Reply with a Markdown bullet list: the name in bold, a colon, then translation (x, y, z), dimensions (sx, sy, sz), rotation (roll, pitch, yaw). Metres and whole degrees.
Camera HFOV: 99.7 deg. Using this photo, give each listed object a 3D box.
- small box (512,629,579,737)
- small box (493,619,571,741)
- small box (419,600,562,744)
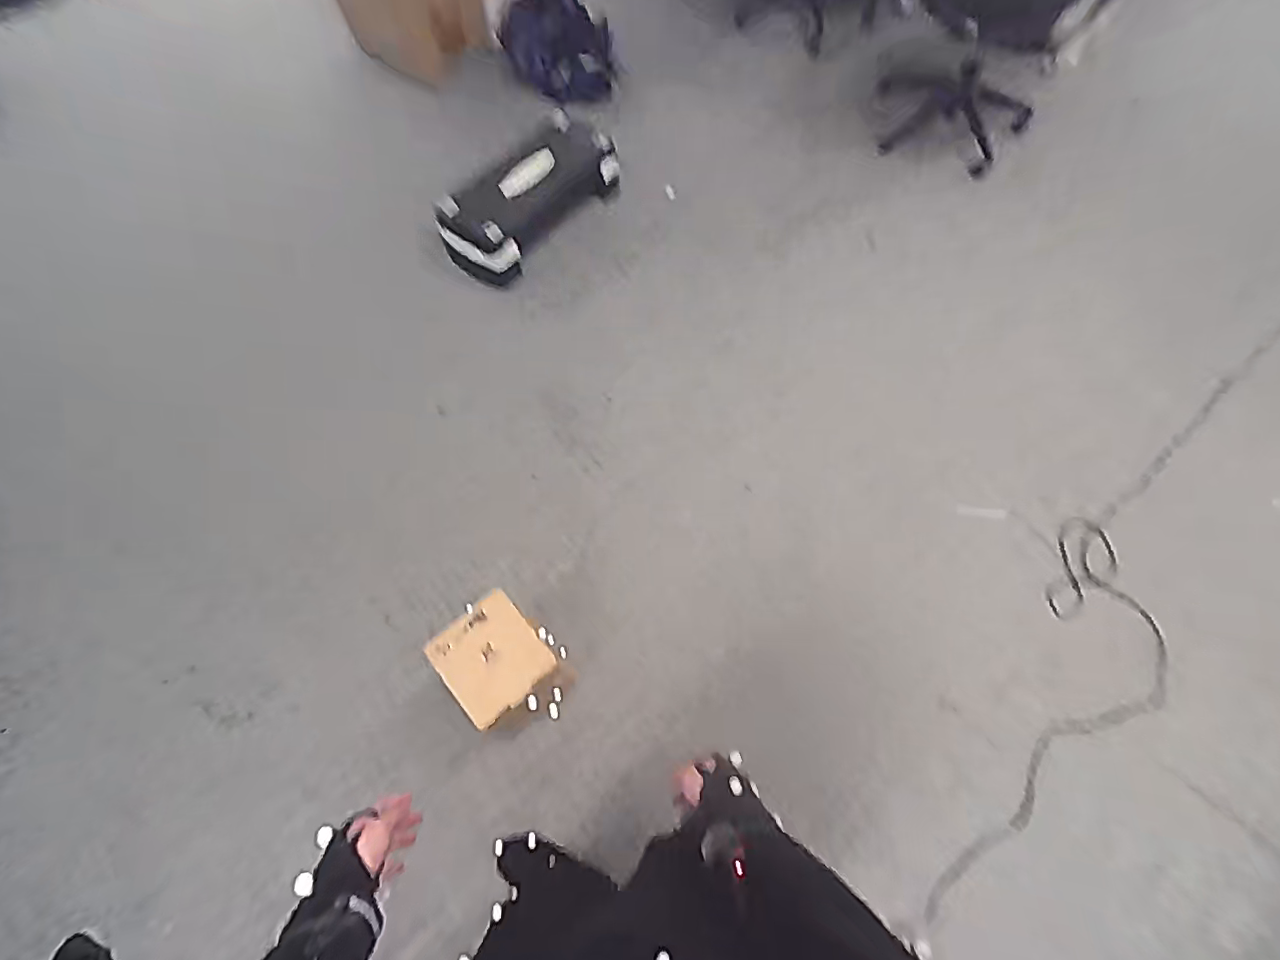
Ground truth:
- **small box**: translation (-0.263, 0.486, 1.284), dimensions (0.168, 0.176, 0.179), rotation (-37, 71, -15)
- **small box**: translation (-0.263, 0.418, 1.137), dimensions (0.168, 0.176, 0.179), rotation (-37, 69, -17)
- **small box**: translation (-0.261, 0.349, 0.990), dimensions (0.168, 0.176, 0.179), rotation (-39, 72, -17)
